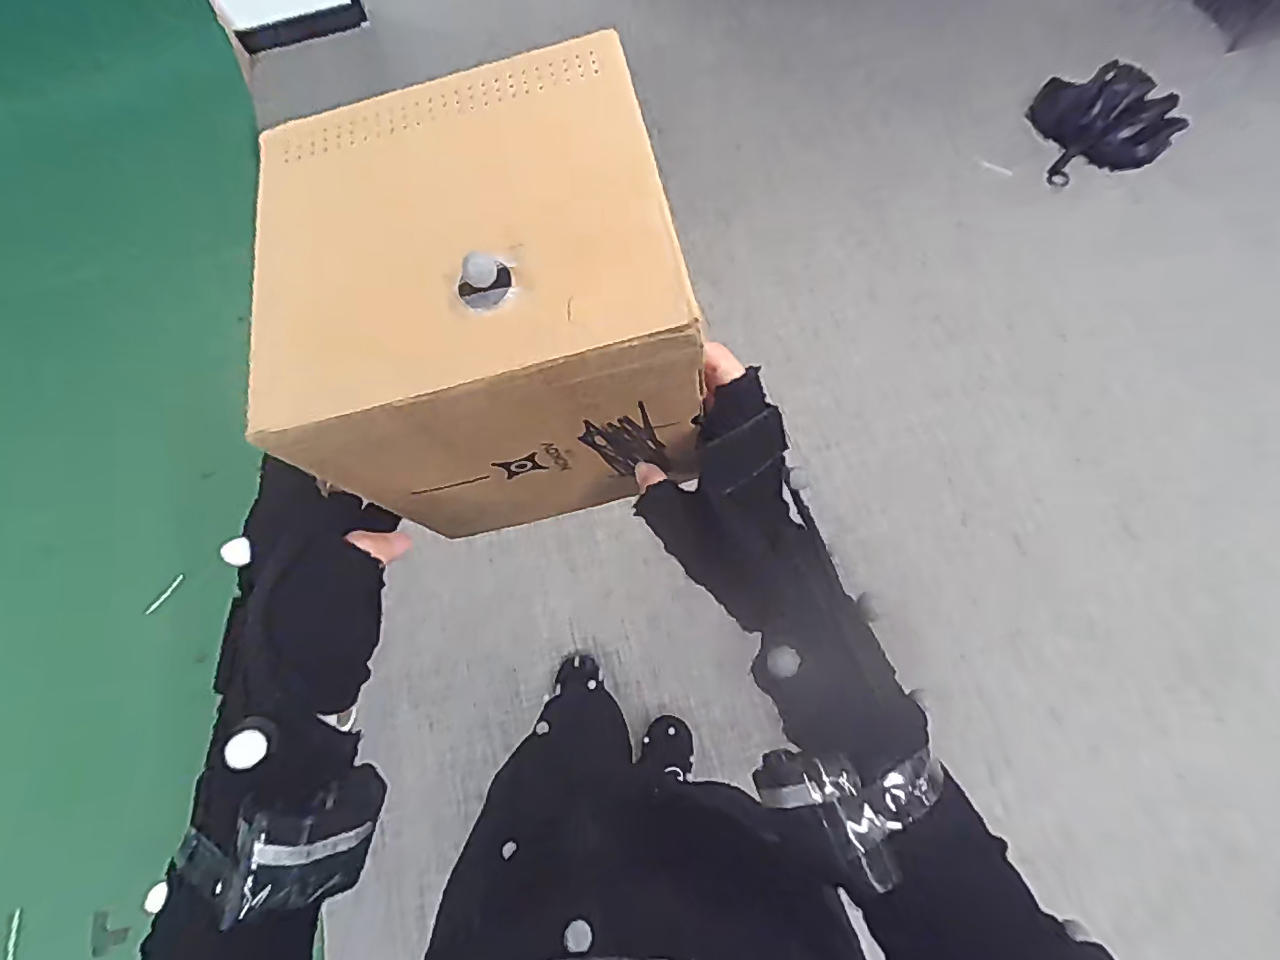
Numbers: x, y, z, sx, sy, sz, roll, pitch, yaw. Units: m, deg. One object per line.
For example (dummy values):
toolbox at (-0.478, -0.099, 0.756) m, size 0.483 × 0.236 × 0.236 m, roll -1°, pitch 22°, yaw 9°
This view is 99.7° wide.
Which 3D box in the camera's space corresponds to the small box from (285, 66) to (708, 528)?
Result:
small box at (-0.066, -0.088, 0.310) m, size 0.179 × 0.168 × 0.176 m, roll -13°, pitch 69°, yaw 3°
